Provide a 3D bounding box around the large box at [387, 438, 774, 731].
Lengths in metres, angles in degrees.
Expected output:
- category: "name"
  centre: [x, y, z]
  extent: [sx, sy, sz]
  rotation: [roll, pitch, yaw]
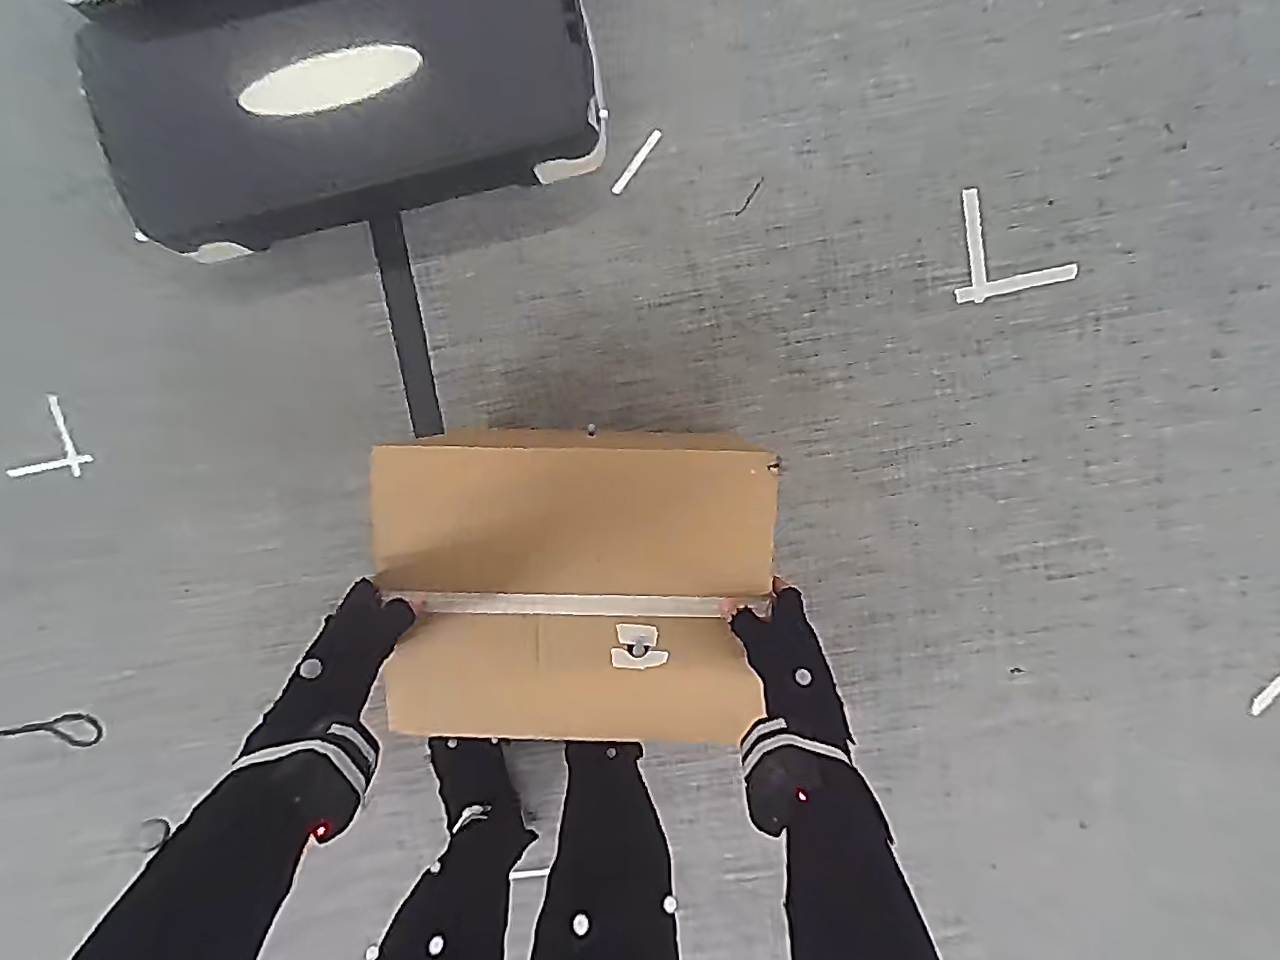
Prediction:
- category: "large box"
  centre: [-0.061, 0.102, 0.716]
  extent: [0.408, 0.320, 0.320]
  rotation: [1, 98, 1]
